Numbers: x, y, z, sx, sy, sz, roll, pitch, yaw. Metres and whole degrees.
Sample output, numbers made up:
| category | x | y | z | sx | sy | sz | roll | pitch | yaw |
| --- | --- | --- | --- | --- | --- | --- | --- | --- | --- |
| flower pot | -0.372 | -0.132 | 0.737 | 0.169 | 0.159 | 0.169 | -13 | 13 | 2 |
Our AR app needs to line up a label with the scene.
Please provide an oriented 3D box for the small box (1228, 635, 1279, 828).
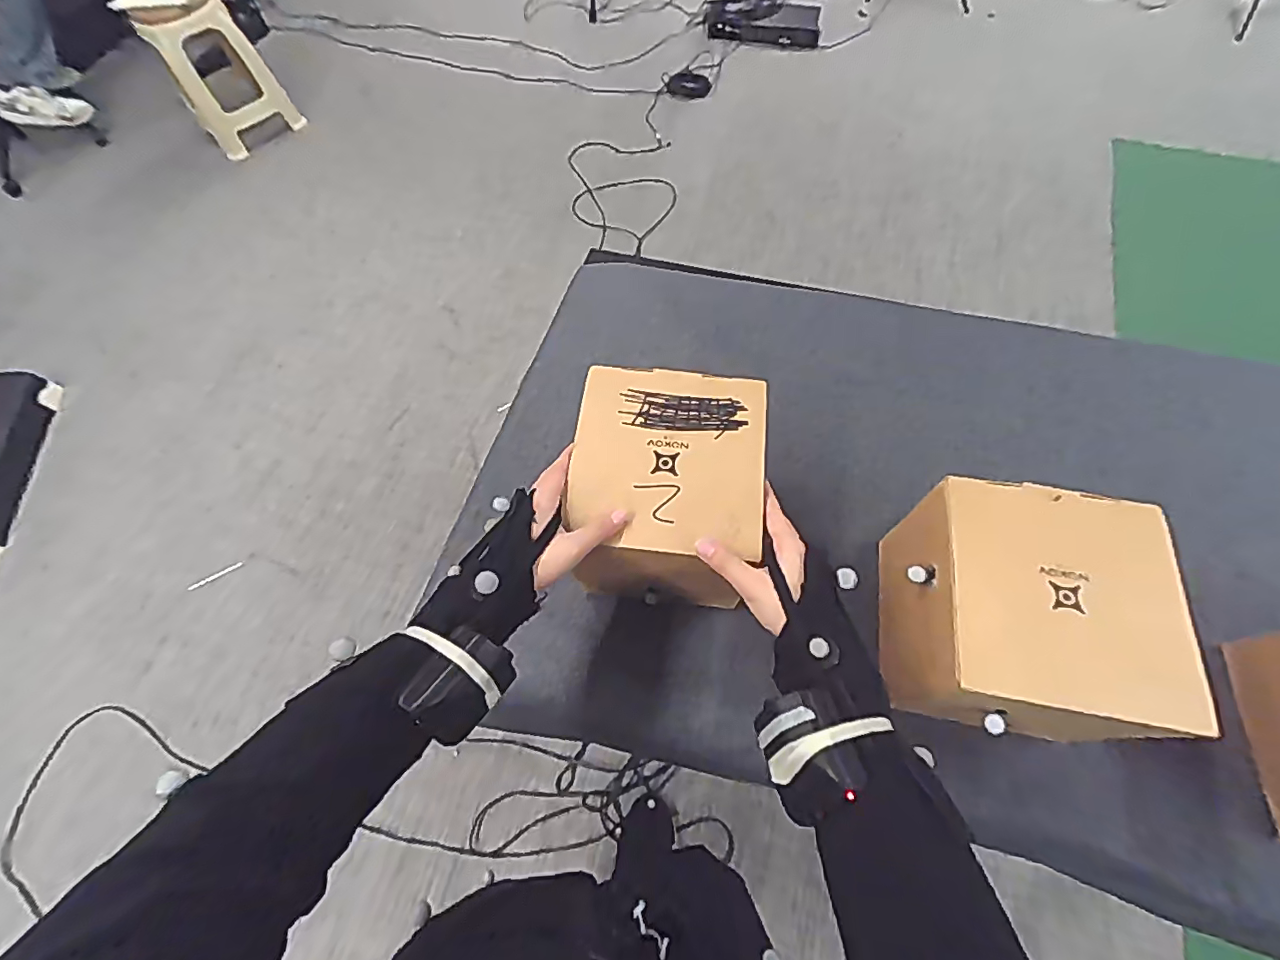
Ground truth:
| category | x | y | z | sx | sy | sz | roll | pitch | yaw |
| --- | --- | --- | --- | --- | --- | --- | --- | --- | --- |
| small box | 0.632 | 0.211 | 0.417 | 0.168 | 0.176 | 0.179 | 7 | 64 | 8 |

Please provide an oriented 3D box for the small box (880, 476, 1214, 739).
| category | x | y | z | sx | sy | sz | roll | pitch | yaw |
| --- | --- | --- | --- | --- | --- | --- | --- | --- | --- |
| small box | 0.325 | 0.120 | 0.479 | 0.168 | 0.176 | 0.179 | 9 | 63 | 7 |
